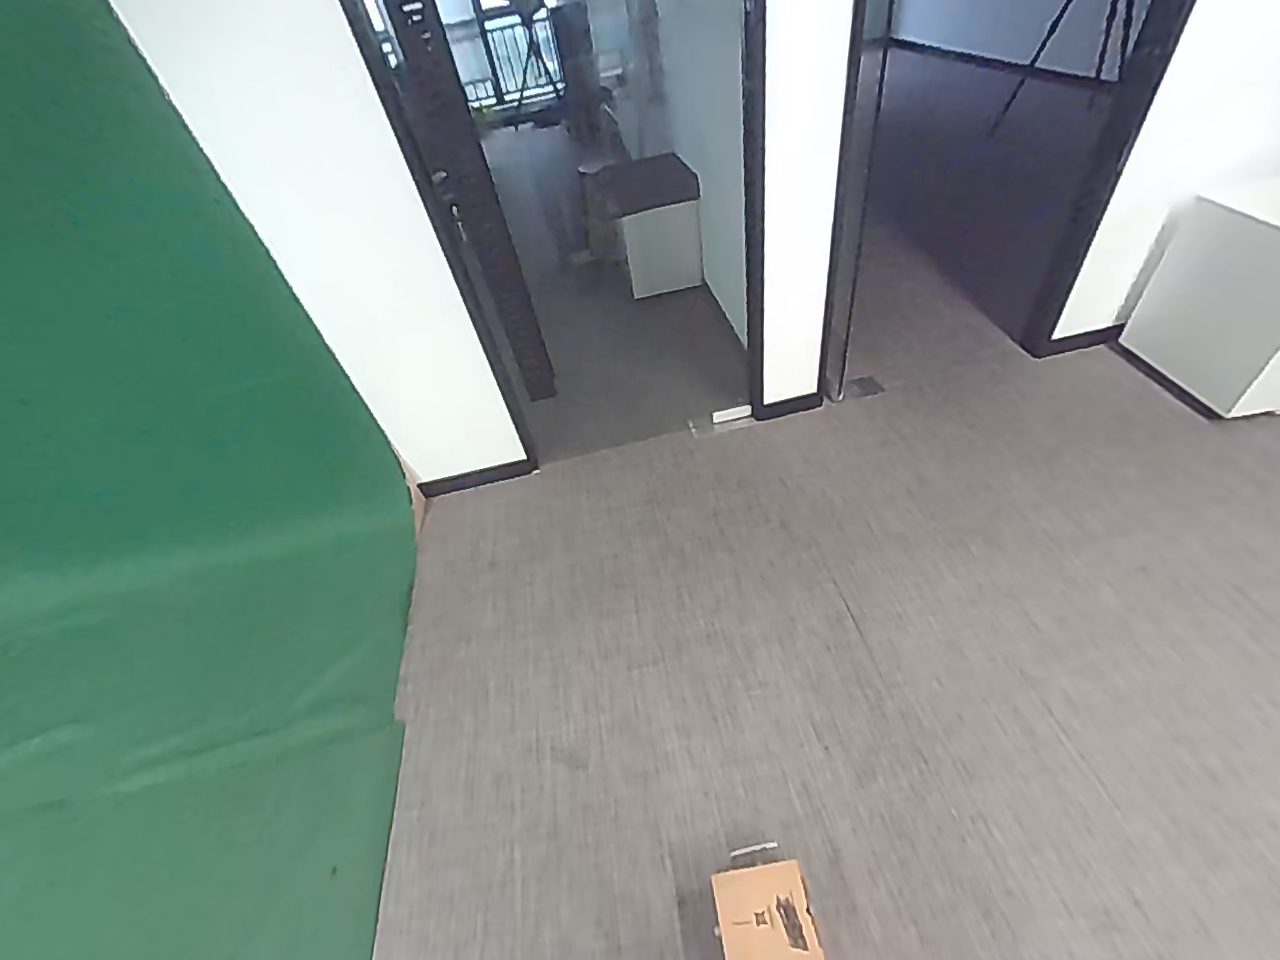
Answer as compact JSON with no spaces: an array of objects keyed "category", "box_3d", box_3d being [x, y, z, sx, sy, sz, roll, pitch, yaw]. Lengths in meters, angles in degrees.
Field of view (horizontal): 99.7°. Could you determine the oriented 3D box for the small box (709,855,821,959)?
[{"category":"small box","box_3d":[0.242,0.873,1.077,0.179,0.176,0.168,-12,44,2]}]
